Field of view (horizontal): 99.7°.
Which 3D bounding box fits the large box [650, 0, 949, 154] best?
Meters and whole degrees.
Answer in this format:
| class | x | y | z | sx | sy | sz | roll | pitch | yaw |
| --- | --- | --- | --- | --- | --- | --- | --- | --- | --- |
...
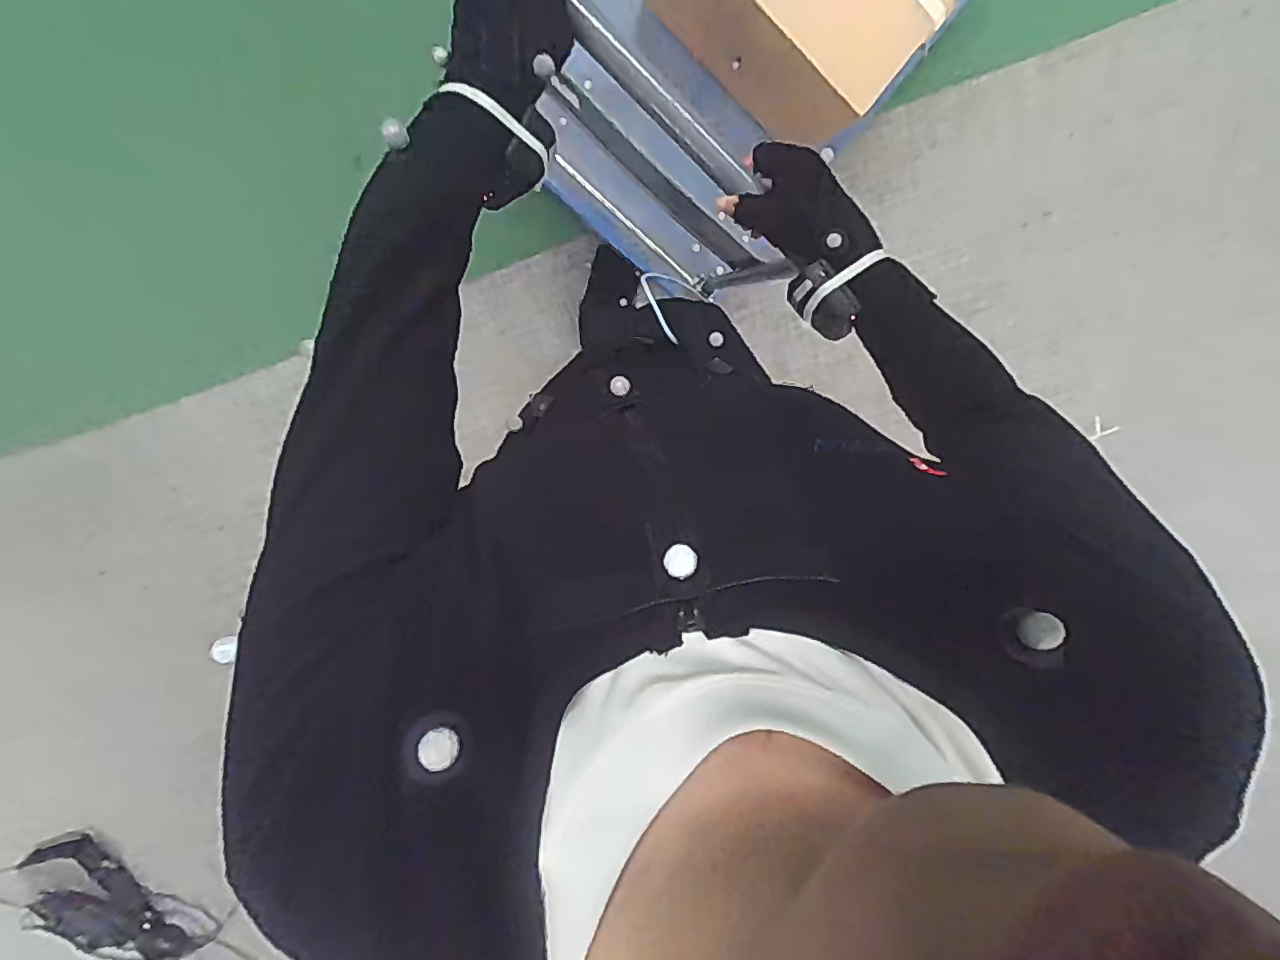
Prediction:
| class | x | y | z | sx | sy | sz | roll | pitch | yaw |
| --- | --- | --- | --- | --- | --- | --- | --- | --- | --- |
| large box | 0.269 | -0.834 | 0.885 | 0.408 | 0.320 | 0.320 | 36 | 103 | -14 |
